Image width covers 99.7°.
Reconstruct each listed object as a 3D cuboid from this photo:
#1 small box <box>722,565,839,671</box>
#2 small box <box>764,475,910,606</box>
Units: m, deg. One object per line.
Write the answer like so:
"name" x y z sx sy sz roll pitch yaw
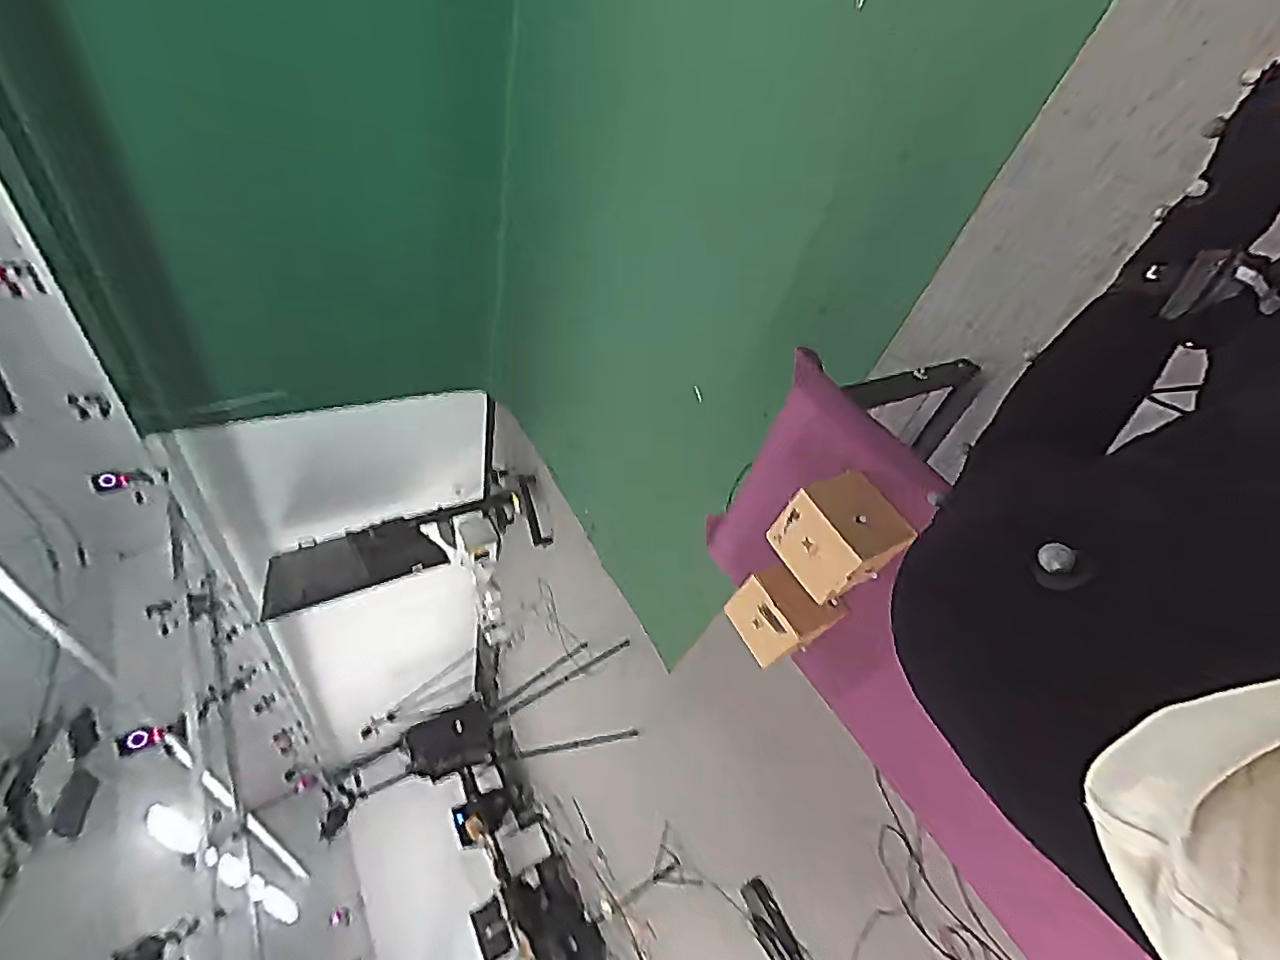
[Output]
"small box" 0.327 0.306 1.250 0.168 0.176 0.179 57 145 27
"small box" 0.387 0.113 1.068 0.179 0.176 0.168 56 145 27
